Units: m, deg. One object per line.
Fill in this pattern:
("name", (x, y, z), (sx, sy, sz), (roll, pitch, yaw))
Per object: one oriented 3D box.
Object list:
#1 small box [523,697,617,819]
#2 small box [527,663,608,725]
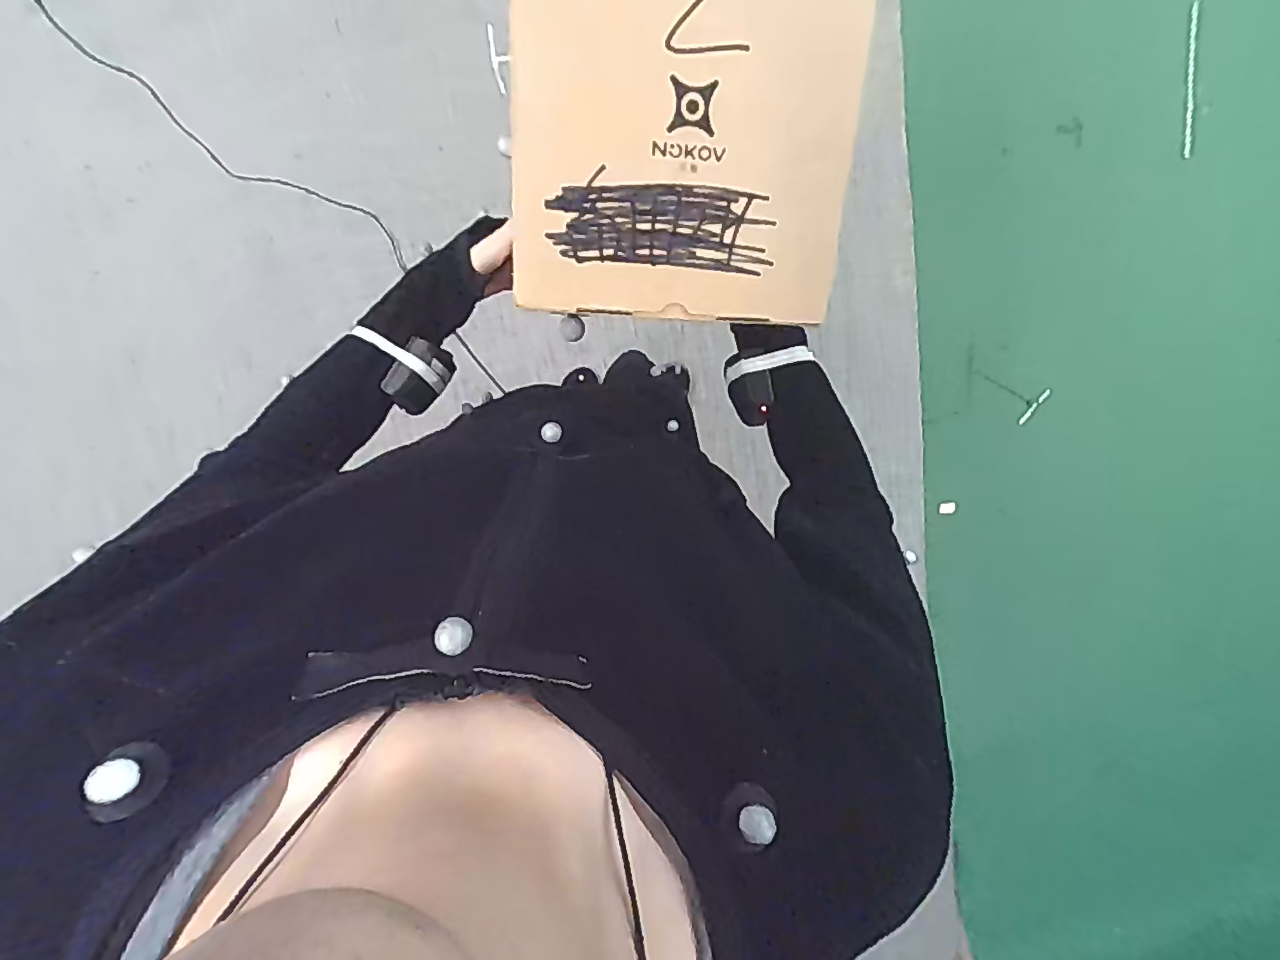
("small box", (-0.154, 0.617, 1.221), (0.179, 0.176, 0.168), (-10, 103, -2))
("small box", (-0.178, 0.598, 1.382), (0.179, 0.176, 0.168), (-13, 103, -4))
